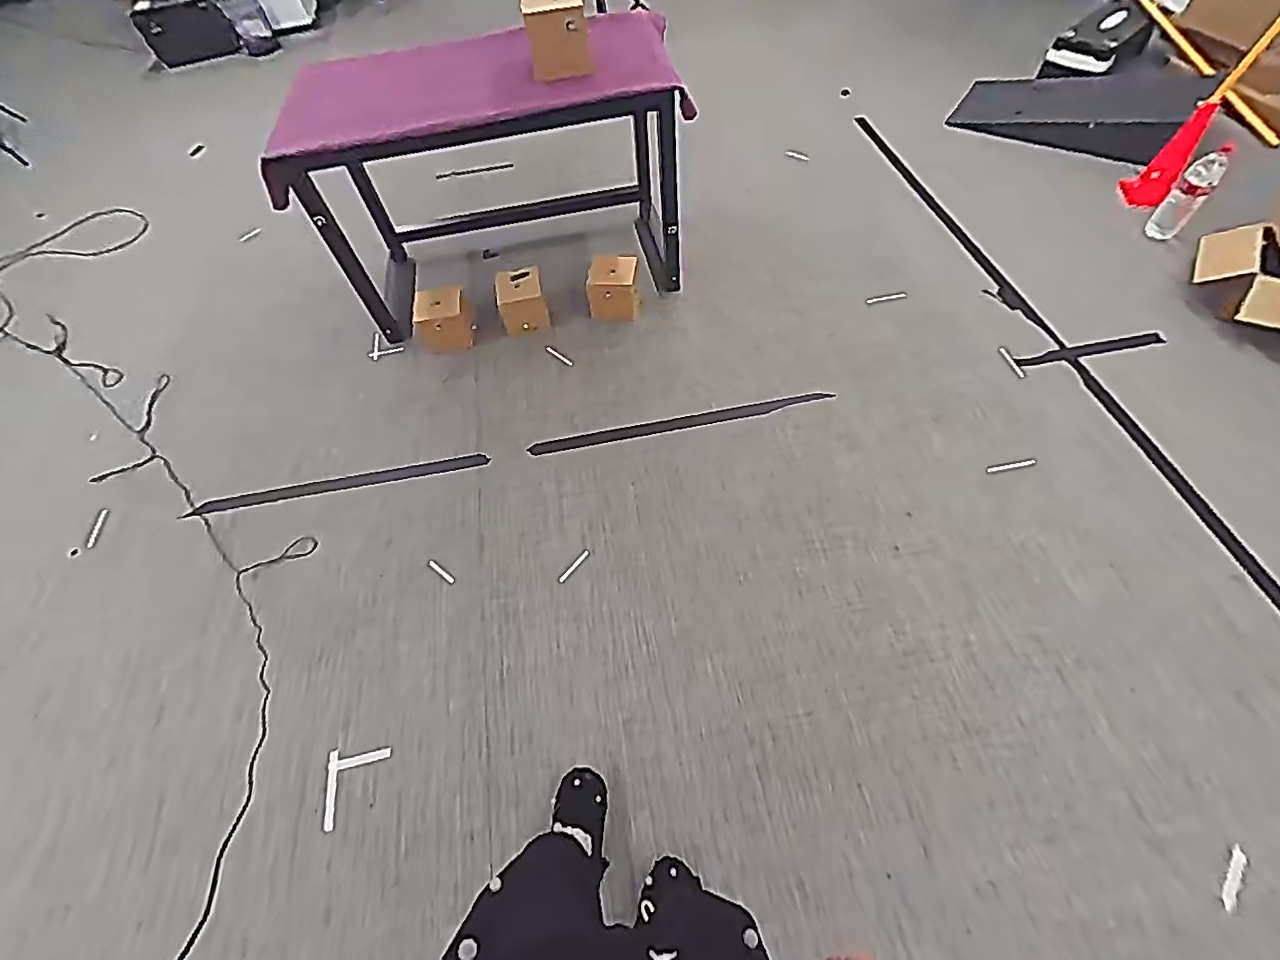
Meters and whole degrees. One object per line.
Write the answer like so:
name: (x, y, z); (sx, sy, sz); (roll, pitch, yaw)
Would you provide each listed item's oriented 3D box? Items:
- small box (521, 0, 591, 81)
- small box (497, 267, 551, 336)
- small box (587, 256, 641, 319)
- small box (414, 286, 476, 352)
small box: (-0.246, -1.326, 1.608); (0.179, 0.176, 0.168); (-10, 57, 0)
small box: (-0.448, -0.686, 2.091); (0.168, 0.176, 0.179); (-12, 59, -2)
small box: (-0.095, -0.742, 2.093); (0.179, 0.176, 0.168); (3, 59, 9)
small box: (-0.744, -0.613, 2.076); (0.179, 0.176, 0.168); (-10, 59, -2)
